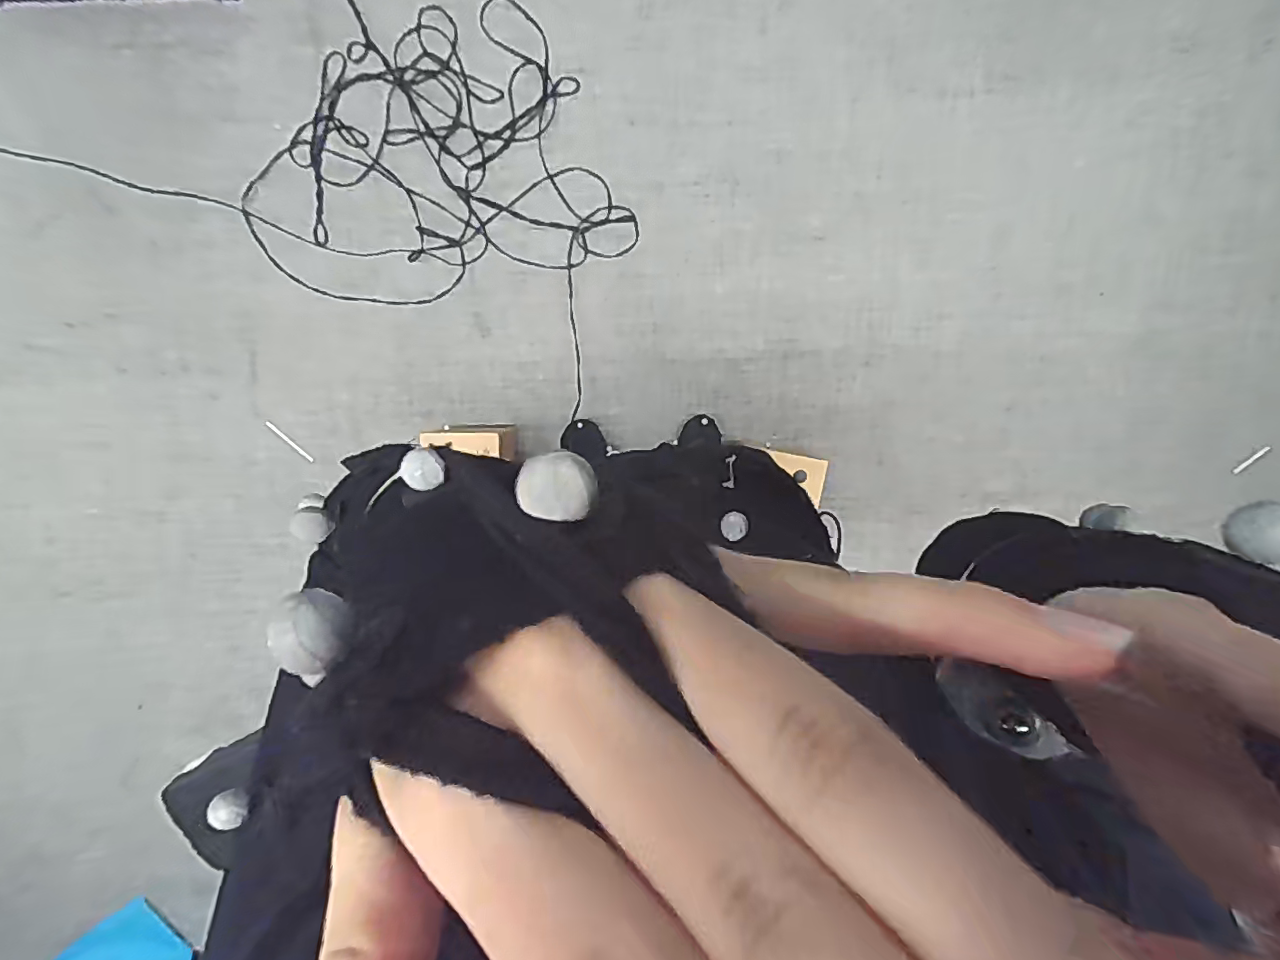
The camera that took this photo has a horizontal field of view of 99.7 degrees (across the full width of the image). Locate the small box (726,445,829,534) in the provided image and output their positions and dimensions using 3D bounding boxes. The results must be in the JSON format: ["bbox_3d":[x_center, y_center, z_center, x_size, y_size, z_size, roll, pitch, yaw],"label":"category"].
[{"bbox_3d":[0.316,0.016,1.277,0.179,0.176,0.168,10,99,-2],"label":"small box"}]
